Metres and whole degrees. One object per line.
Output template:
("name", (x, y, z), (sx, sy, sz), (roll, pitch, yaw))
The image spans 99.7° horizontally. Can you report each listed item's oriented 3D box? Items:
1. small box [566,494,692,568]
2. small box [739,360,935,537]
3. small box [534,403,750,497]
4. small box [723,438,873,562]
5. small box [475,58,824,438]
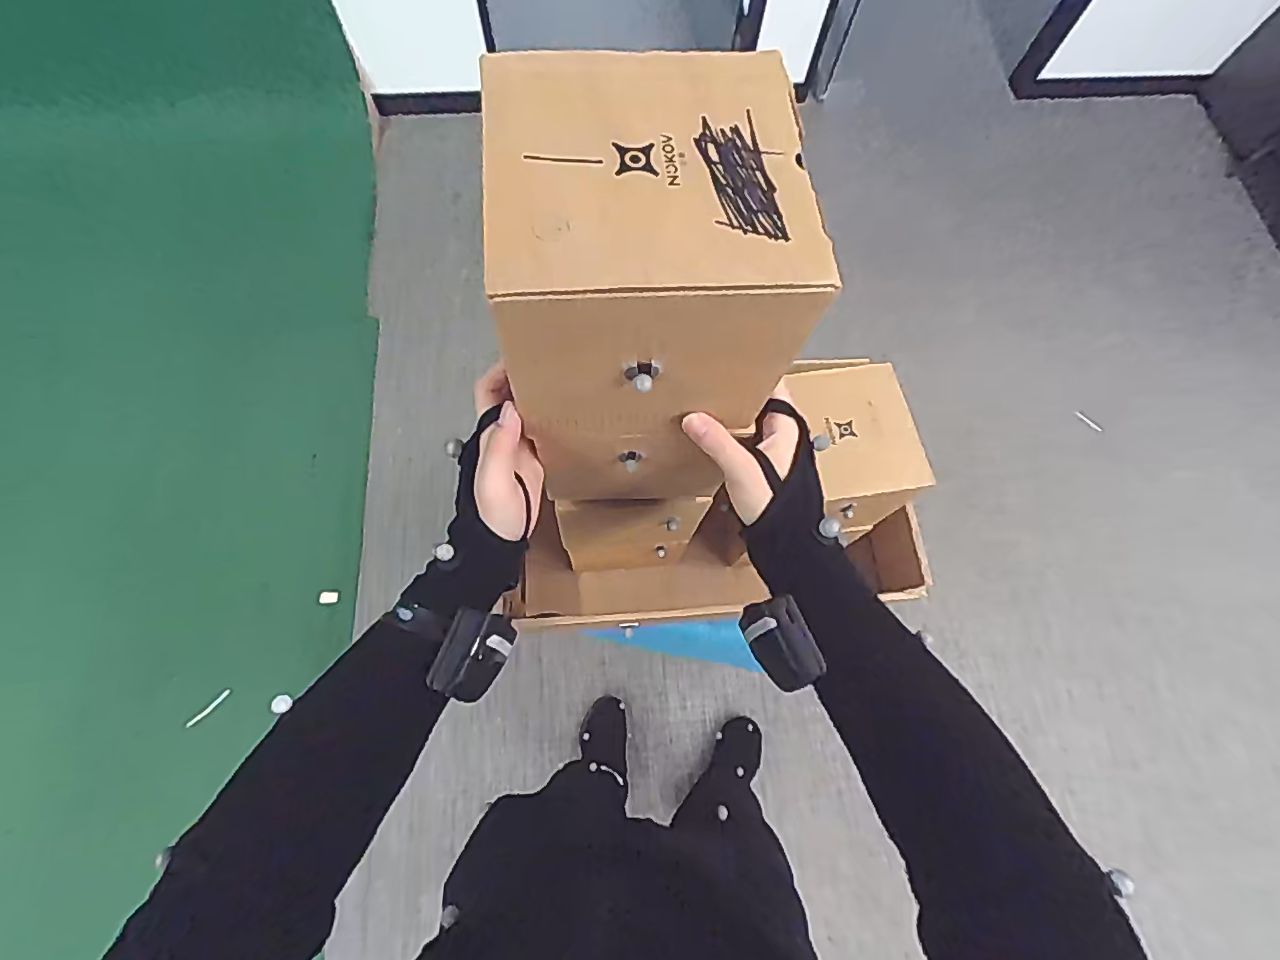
("small box", (-0.023, 0.039, 0.848), (0.179, 0.176, 0.168), (-4, 69, -5))
("small box", (0.235, -0.032, 0.704), (0.179, 0.176, 0.168), (-8, 70, -4))
("small box", (-0.007, -0.084, 0.519), (0.179, 0.176, 0.168), (-1, 72, -5))
("small box", (0.234, 0.027, 0.857), (0.179, 0.176, 0.168), (-7, 70, -2))
("small box", (-0.005, -0.137, 0.363), (0.179, 0.176, 0.168), (-5, 71, -5))
